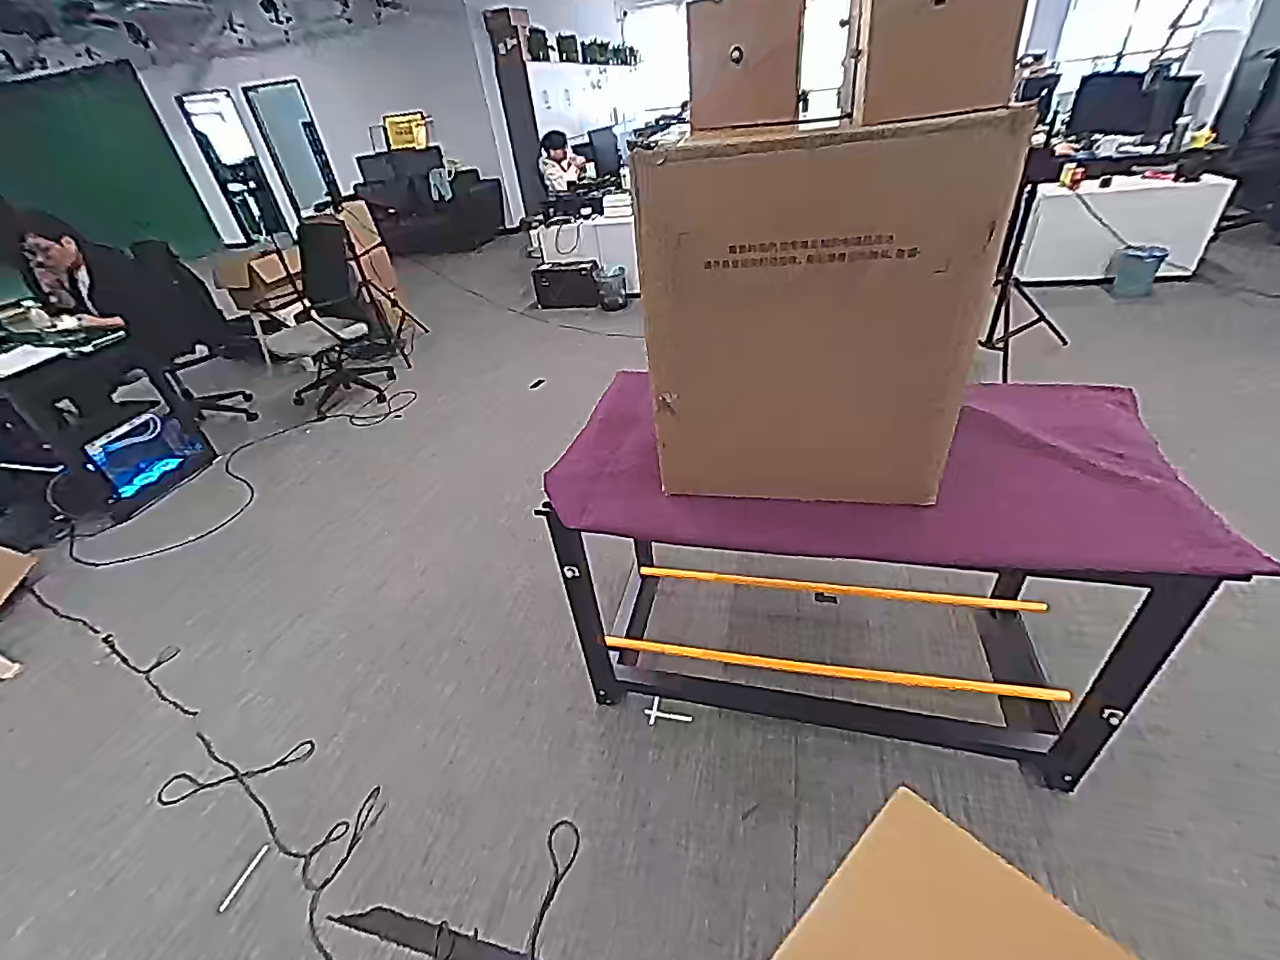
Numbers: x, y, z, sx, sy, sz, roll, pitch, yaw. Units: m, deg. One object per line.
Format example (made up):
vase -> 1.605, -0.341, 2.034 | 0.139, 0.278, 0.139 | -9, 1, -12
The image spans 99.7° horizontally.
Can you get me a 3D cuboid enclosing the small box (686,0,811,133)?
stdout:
small box -> 0.184, -0.691, 0.897 | 0.179, 0.176, 0.168 | 5, 36, 18
